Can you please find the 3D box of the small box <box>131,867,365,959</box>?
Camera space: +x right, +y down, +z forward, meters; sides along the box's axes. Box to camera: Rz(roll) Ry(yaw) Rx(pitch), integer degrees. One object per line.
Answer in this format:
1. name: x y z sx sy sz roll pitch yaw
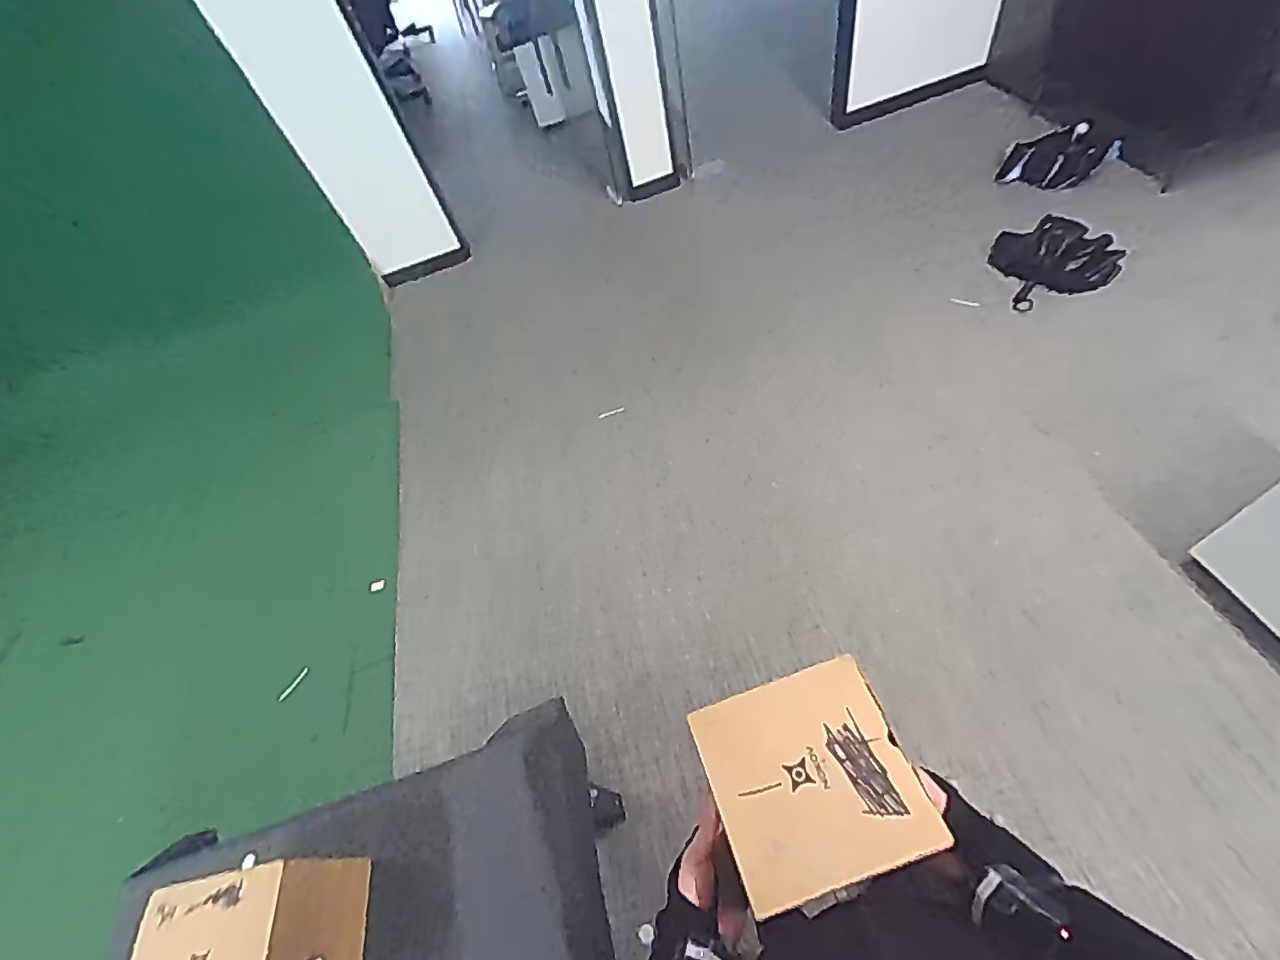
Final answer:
1. small box: -0.444 0.566 0.619 0.168 0.176 0.179 -14 54 3
